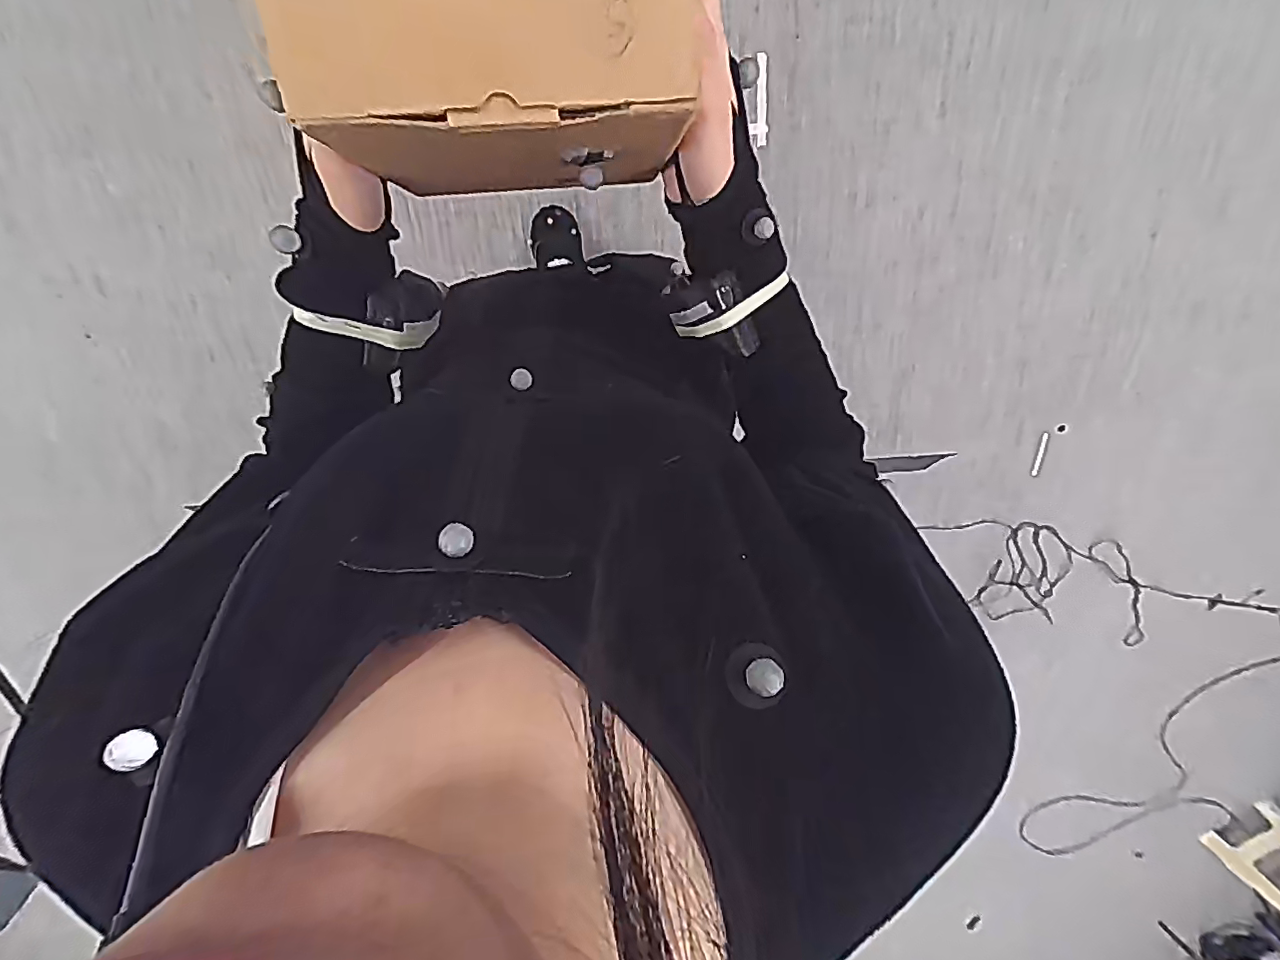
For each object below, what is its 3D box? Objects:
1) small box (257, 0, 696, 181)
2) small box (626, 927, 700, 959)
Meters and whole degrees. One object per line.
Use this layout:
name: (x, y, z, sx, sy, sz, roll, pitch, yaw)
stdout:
small box: (-0.070, -0.256, 0.262, 0.168, 0.176, 0.179, -6, 109, -5)
small box: (0.056, 1.154, 1.229, 0.168, 0.176, 0.179, -3, 116, -3)
